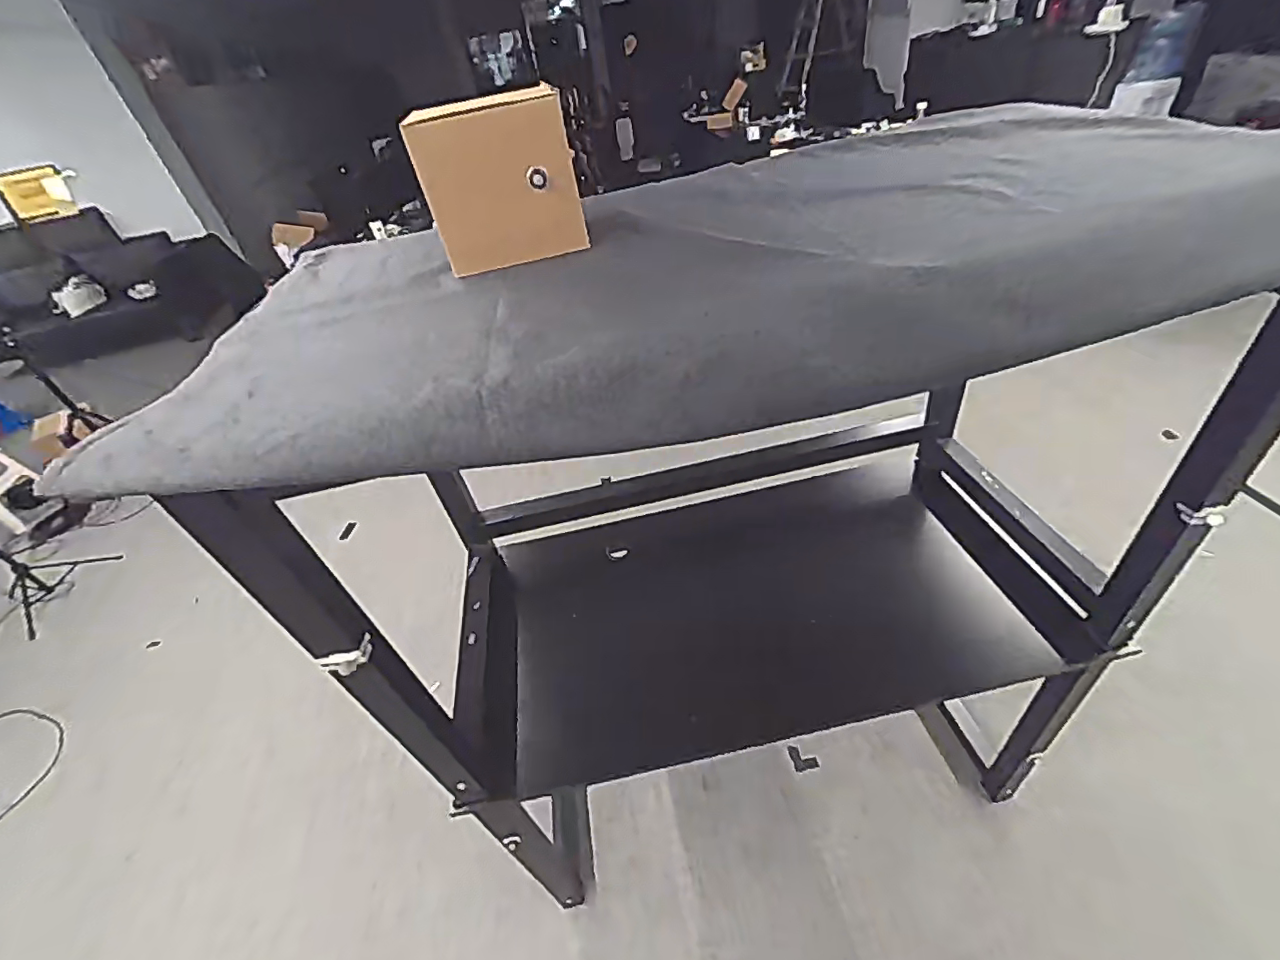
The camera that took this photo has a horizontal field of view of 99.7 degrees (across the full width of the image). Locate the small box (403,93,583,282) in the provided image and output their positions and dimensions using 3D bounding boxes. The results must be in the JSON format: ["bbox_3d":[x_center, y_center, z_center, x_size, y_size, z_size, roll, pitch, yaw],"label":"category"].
[{"bbox_3d":[-0.176,-0.376,0.694,0.179,0.176,0.168,-14,40,-5],"label":"small box"}]
